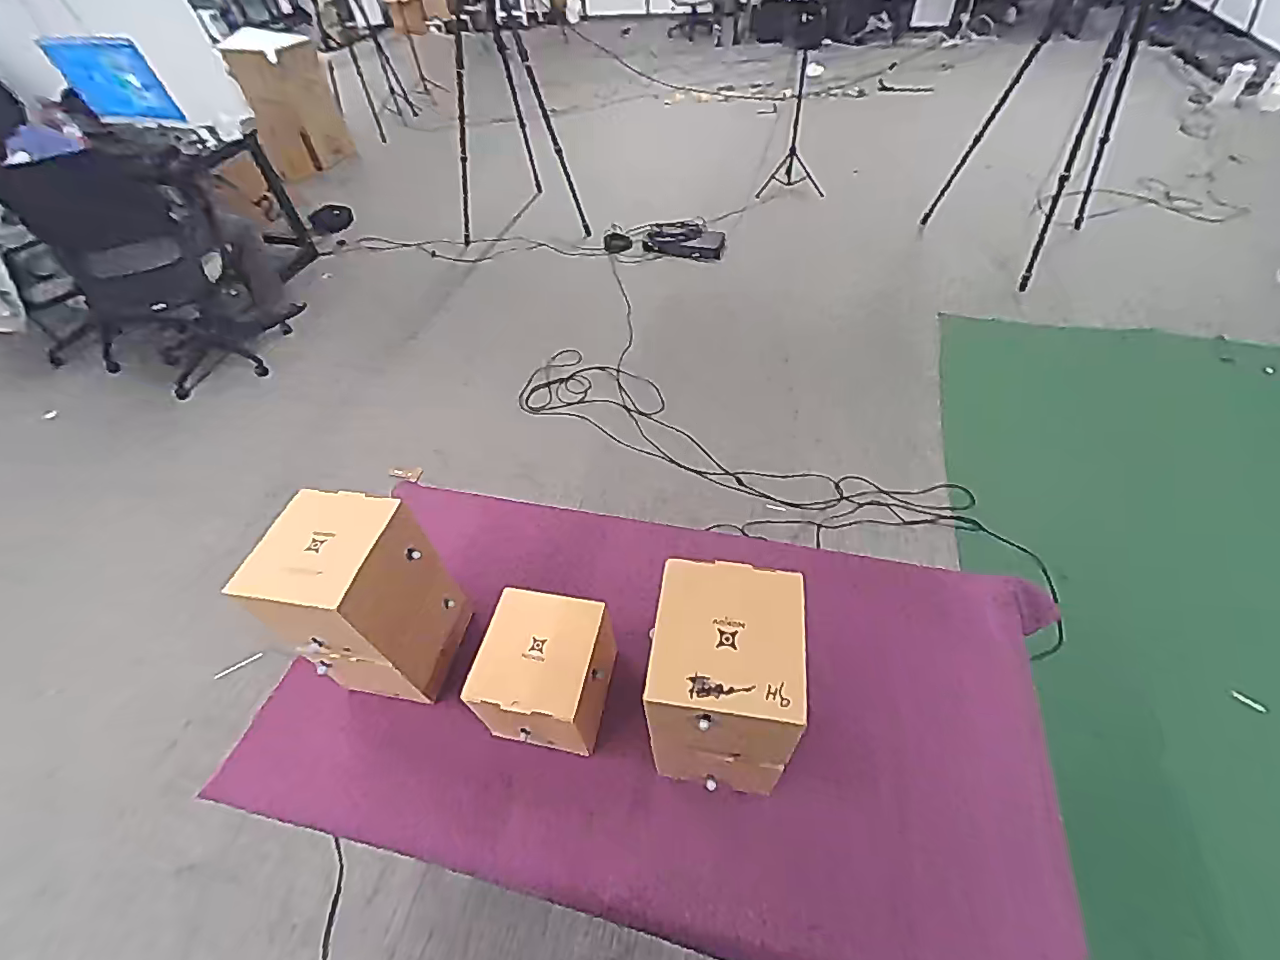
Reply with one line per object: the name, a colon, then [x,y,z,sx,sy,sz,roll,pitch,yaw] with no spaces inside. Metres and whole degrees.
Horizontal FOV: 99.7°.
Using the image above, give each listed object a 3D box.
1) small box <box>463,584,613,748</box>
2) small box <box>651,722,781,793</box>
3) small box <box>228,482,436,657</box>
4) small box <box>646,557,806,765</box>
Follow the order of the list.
small box: [-0.143,0.289,0.839,0.168,0.176,0.179,7,52,11]
small box: [0.114,0.326,0.784,0.168,0.176,0.179,6,51,10]
small box: [-0.419,0.129,0.778,0.168,0.176,0.179,7,51,10]
small box: [0.105,0.220,0.659,0.168,0.176,0.179,6,50,10]
